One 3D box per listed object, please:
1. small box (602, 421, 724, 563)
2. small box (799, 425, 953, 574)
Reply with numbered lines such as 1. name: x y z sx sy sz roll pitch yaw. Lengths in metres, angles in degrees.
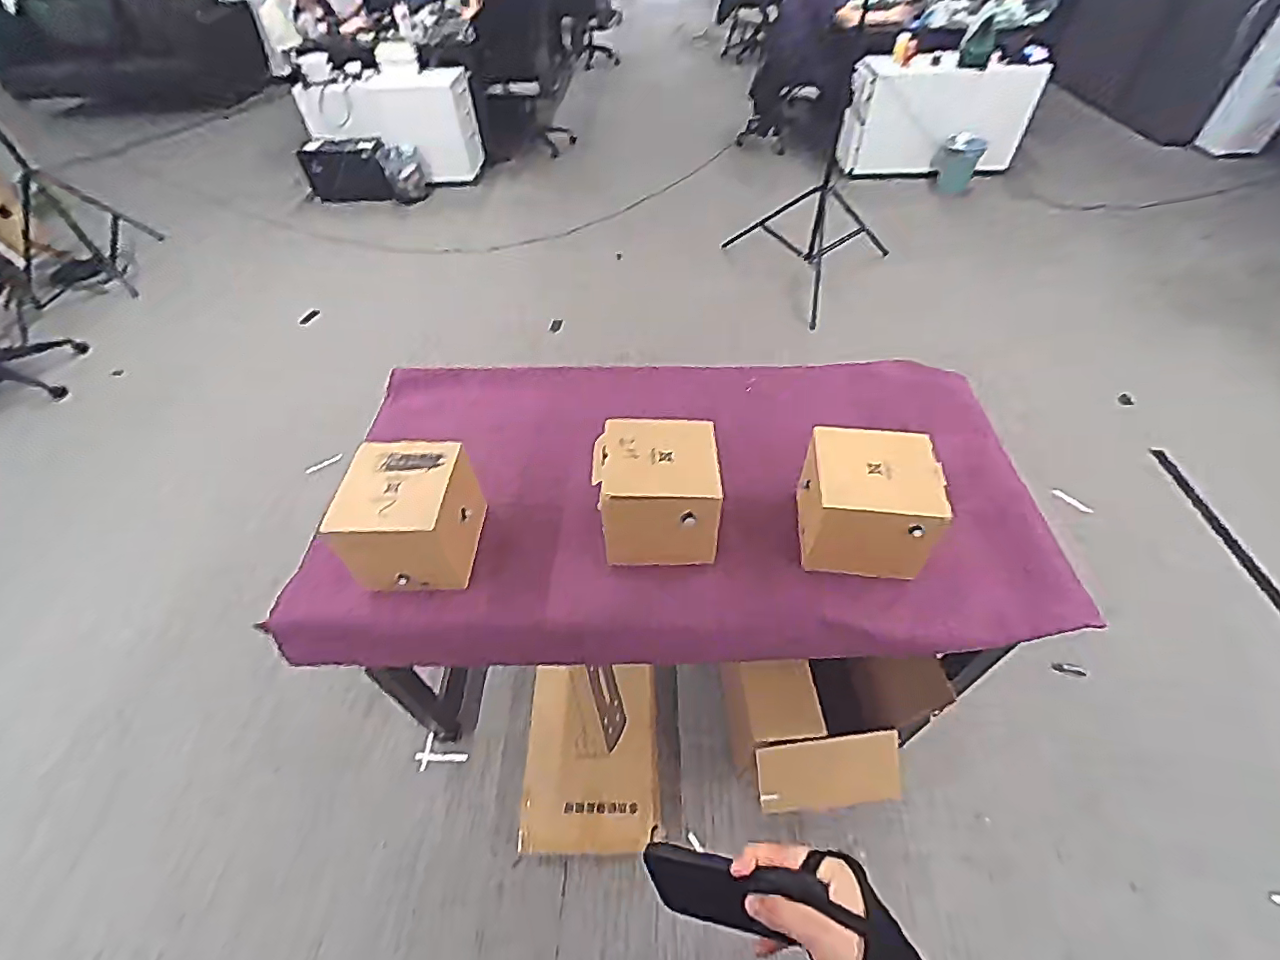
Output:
1. small box: 0.034 0.021 0.874 0.179 0.176 0.168 -1 47 1
2. small box: 0.352 0.033 0.852 0.179 0.176 0.168 4 49 6
